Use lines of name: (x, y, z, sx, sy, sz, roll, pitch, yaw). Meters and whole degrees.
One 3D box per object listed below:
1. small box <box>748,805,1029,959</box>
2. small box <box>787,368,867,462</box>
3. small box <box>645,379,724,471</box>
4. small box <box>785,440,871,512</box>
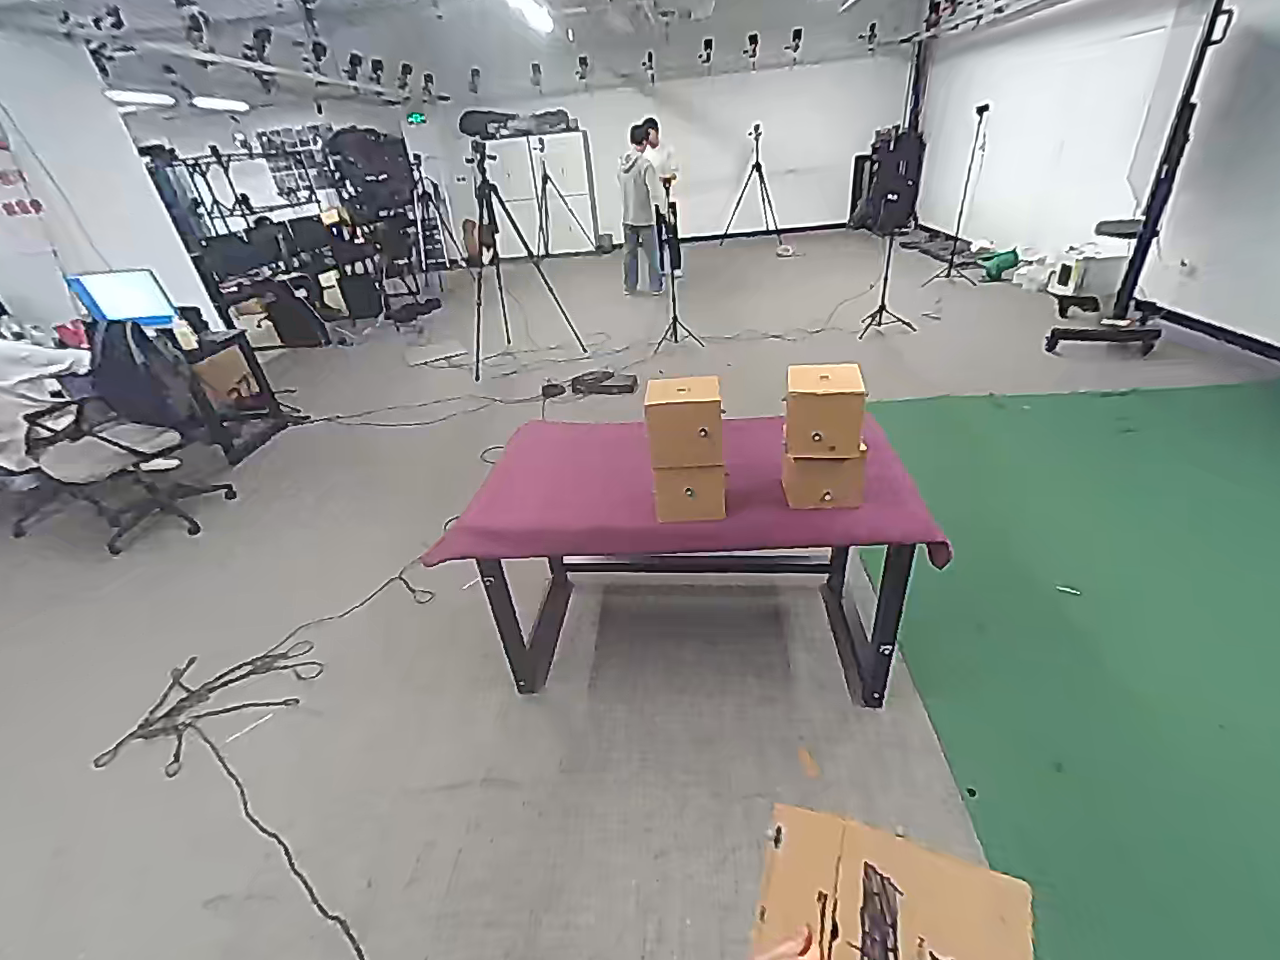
small box: (0.216, 0.419, 0.500, 0.179, 0.176, 0.168, 20, 62, 1)
small box: (0.440, -0.159, 1.293, 0.168, 0.176, 0.179, 1, 32, 15)
small box: (0.114, -0.133, 1.315, 0.179, 0.176, 0.168, -3, 29, 9)
small box: (0.473, -0.029, 1.389, 0.179, 0.176, 0.168, -3, 29, 8)
